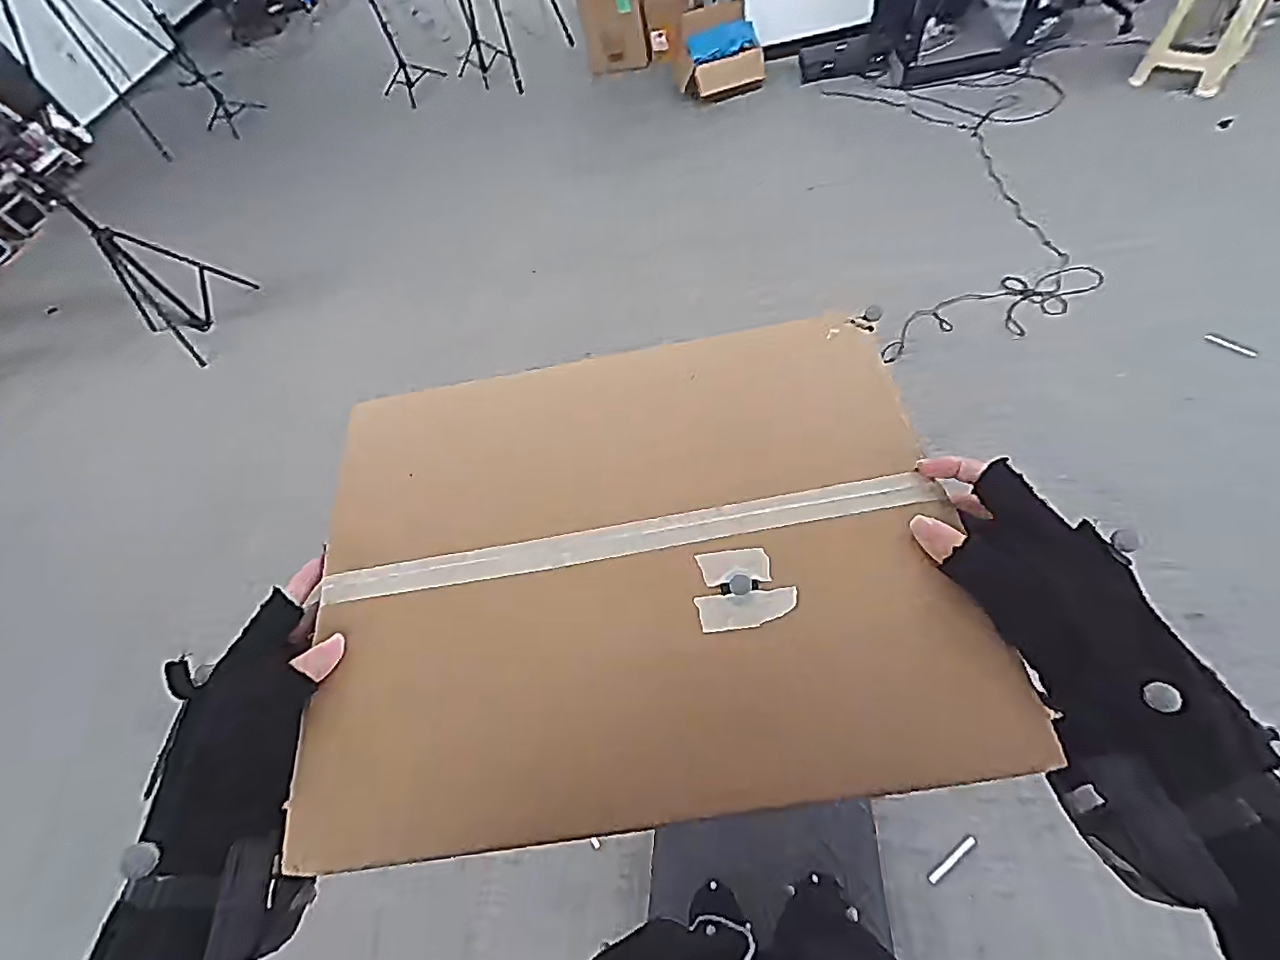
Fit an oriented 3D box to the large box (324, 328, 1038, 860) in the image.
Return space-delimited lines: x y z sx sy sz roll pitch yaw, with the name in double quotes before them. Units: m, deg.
"large box" 0.015 0.115 0.493 0.408 0.320 0.320 -9 62 2
